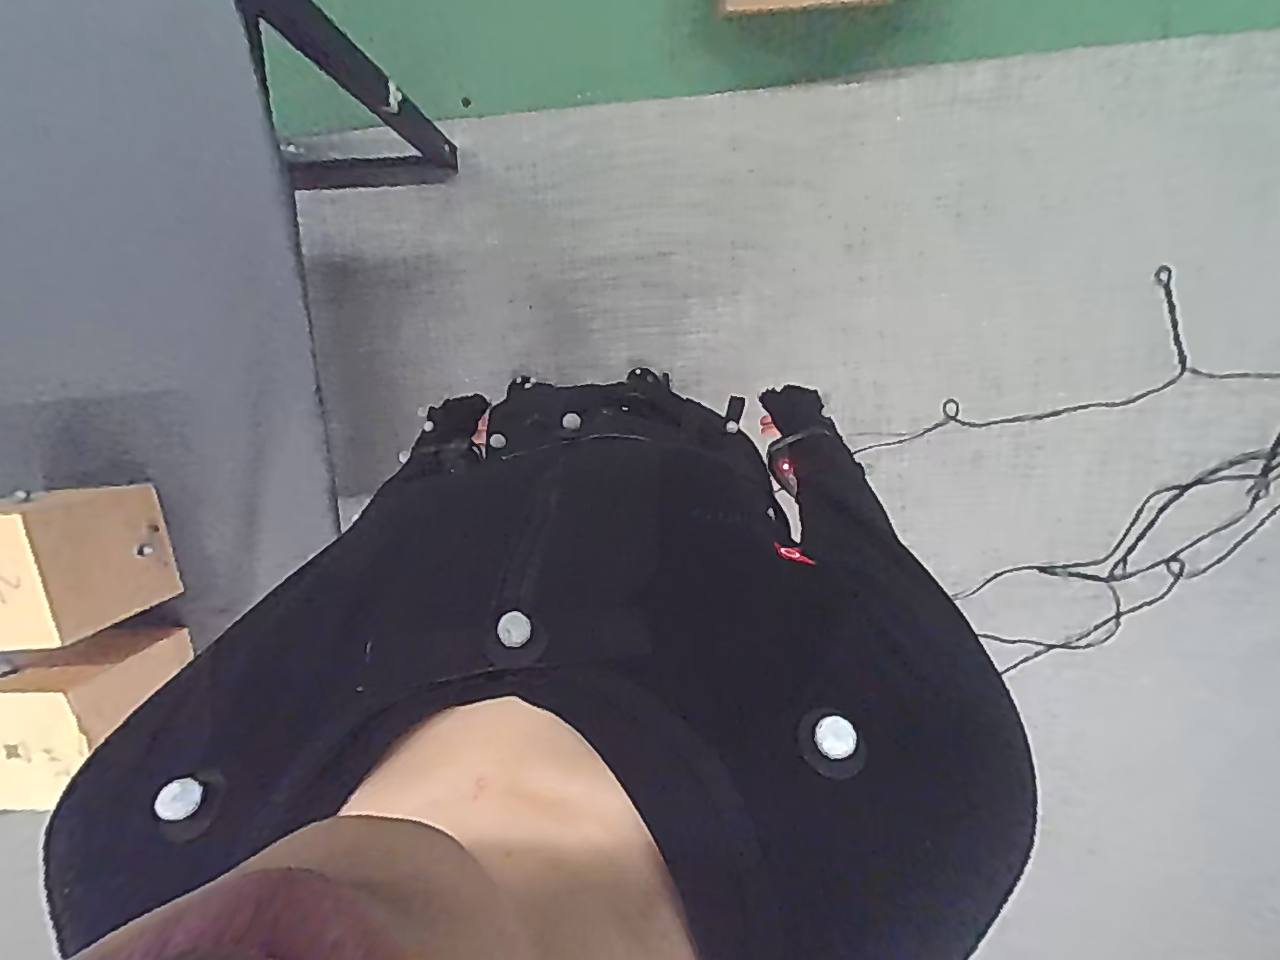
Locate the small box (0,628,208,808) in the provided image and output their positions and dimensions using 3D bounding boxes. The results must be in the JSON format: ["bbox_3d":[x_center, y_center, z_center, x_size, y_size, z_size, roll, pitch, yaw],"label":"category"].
[{"bbox_3d":[-0.756,0.315,0.745,0.179,0.176,0.168,-2,101,3],"label":"small box"}]
